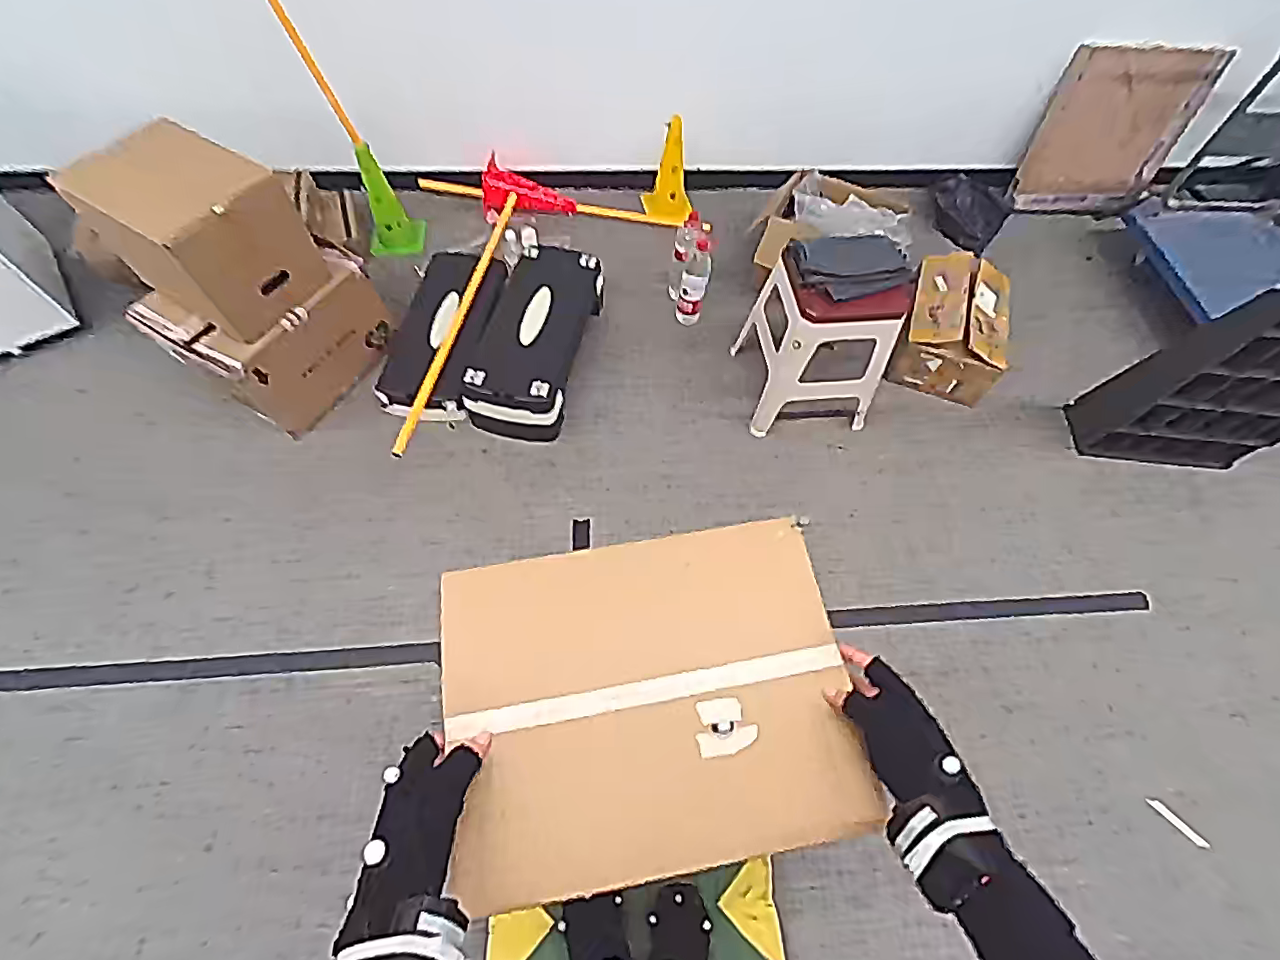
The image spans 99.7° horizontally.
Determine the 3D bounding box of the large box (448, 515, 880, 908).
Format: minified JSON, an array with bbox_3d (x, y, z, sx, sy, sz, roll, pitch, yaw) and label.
[{"bbox_3d":[0.005,0.272,0.692,0.408,0.320,0.320,-9,67,-6],"label":"large box"}]
